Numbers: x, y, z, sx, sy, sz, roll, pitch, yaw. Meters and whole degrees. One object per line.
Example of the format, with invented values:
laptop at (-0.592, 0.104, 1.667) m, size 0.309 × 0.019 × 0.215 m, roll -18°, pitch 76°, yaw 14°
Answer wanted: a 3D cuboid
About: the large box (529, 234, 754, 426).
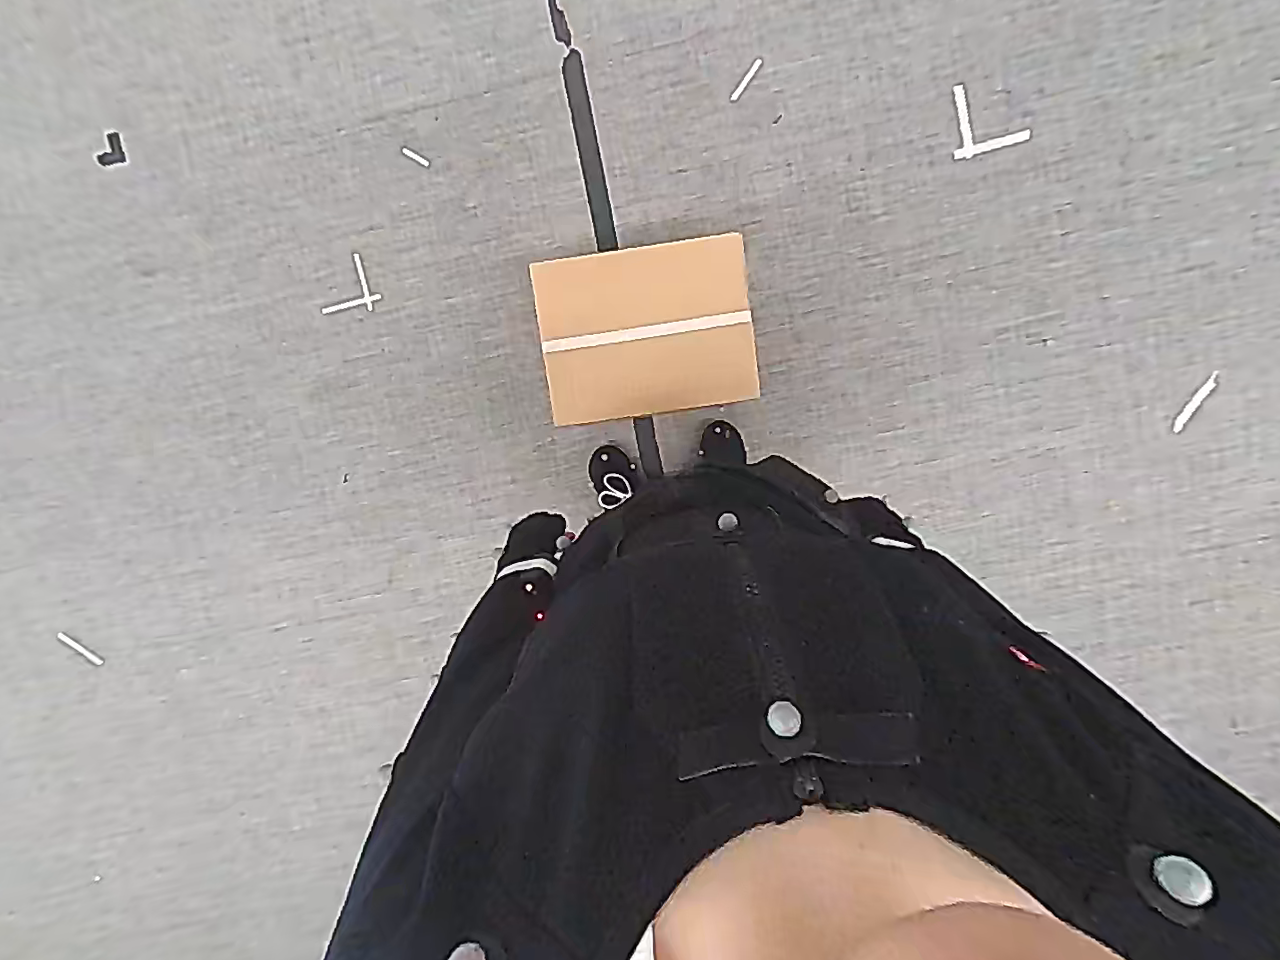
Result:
large box at (0.009, -0.305, 1.187) m, size 0.408 × 0.320 × 0.320 m, roll -8°, pitch 96°, yaw 2°
